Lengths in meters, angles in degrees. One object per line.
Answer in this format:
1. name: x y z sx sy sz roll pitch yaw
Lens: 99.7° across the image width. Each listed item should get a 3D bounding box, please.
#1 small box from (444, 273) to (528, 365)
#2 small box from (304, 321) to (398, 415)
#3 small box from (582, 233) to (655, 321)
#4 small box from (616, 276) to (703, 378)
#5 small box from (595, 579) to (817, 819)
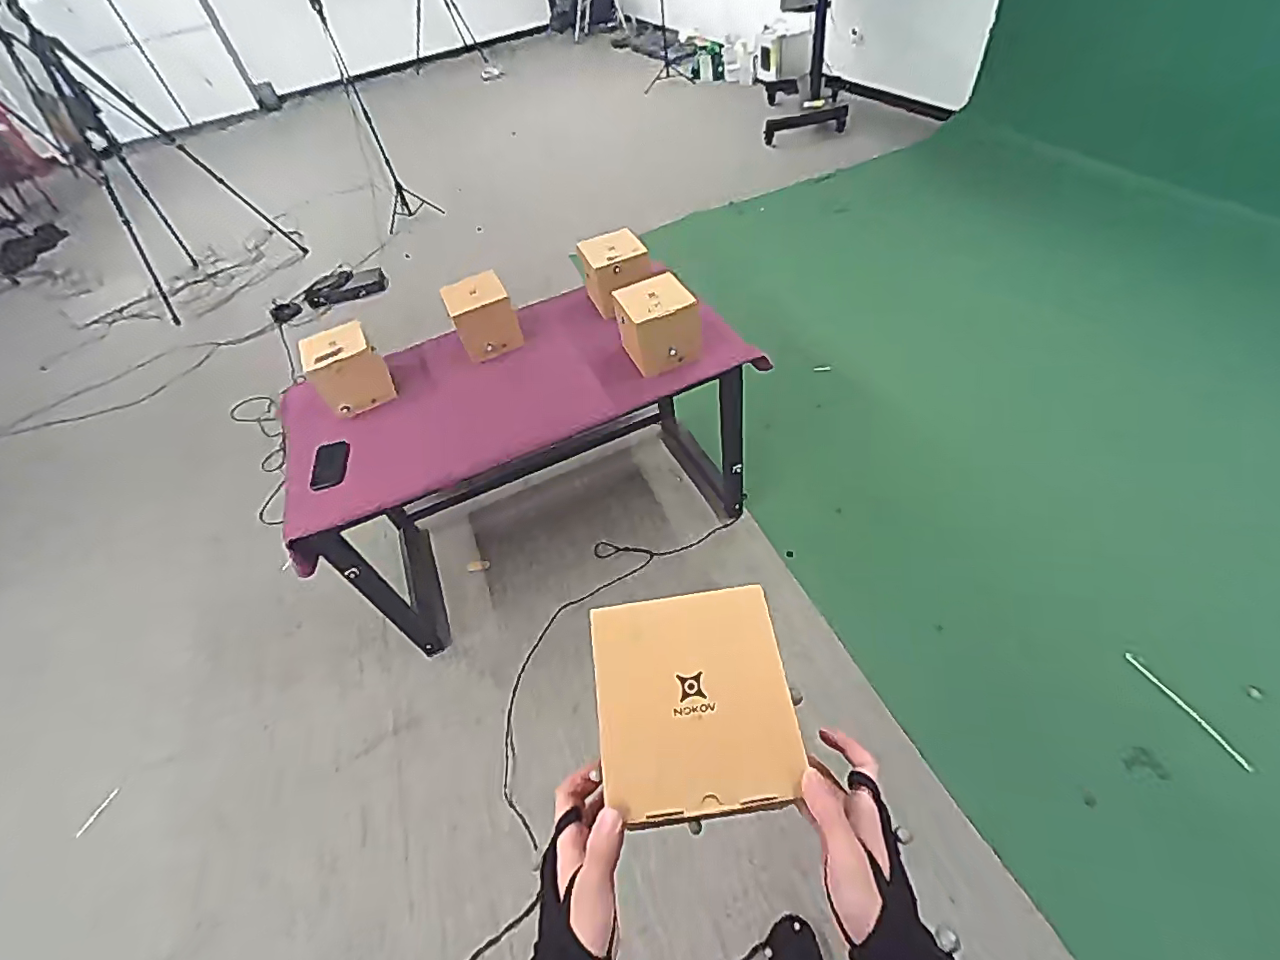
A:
1. small box: -0.443 -0.464 1.564 0.168 0.176 0.179 -24 50 -9
2. small box: -0.785 -0.299 1.478 0.168 0.176 0.179 -25 49 -12
3. small box: -0.061 -0.606 1.617 0.168 0.176 0.179 -21 49 -7
4. small box: 0.052 -0.396 1.407 0.168 0.176 0.179 -22 49 -7
5. small box: 0.051 0.218 0.526 0.168 0.176 0.179 -8 57 -1
